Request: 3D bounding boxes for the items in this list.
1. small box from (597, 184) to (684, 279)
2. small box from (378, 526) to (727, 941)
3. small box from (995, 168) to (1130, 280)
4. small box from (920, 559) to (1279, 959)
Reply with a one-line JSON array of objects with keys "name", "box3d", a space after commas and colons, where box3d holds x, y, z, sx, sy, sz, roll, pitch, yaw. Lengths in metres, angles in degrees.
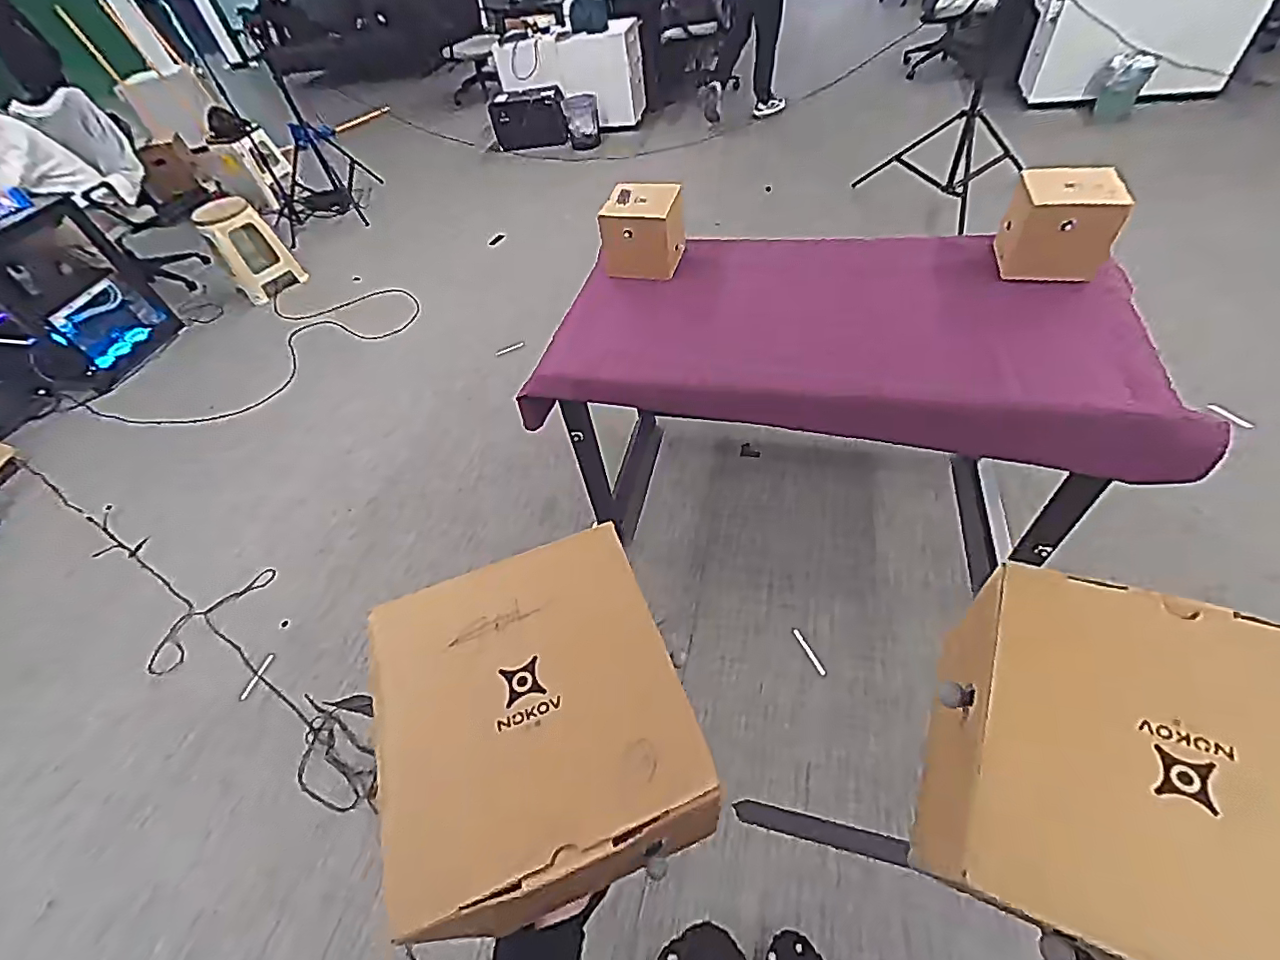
[{"name": "small box", "box3d": [0.009, -0.641, 1.398, 0.179, 0.176, 0.168, 10, 55, 15]}, {"name": "small box", "box3d": [-0.054, 0.168, 0.366, 0.168, 0.176, 0.179, -19, 51, -11]}, {"name": "small box", "box3d": [0.901, -0.554, 1.178, 0.179, 0.176, 0.168, 8, 53, 15]}, {"name": "small box", "box3d": [0.278, 0.178, 0.321, 0.168, 0.176, 0.179, 13, 61, 24]}]
